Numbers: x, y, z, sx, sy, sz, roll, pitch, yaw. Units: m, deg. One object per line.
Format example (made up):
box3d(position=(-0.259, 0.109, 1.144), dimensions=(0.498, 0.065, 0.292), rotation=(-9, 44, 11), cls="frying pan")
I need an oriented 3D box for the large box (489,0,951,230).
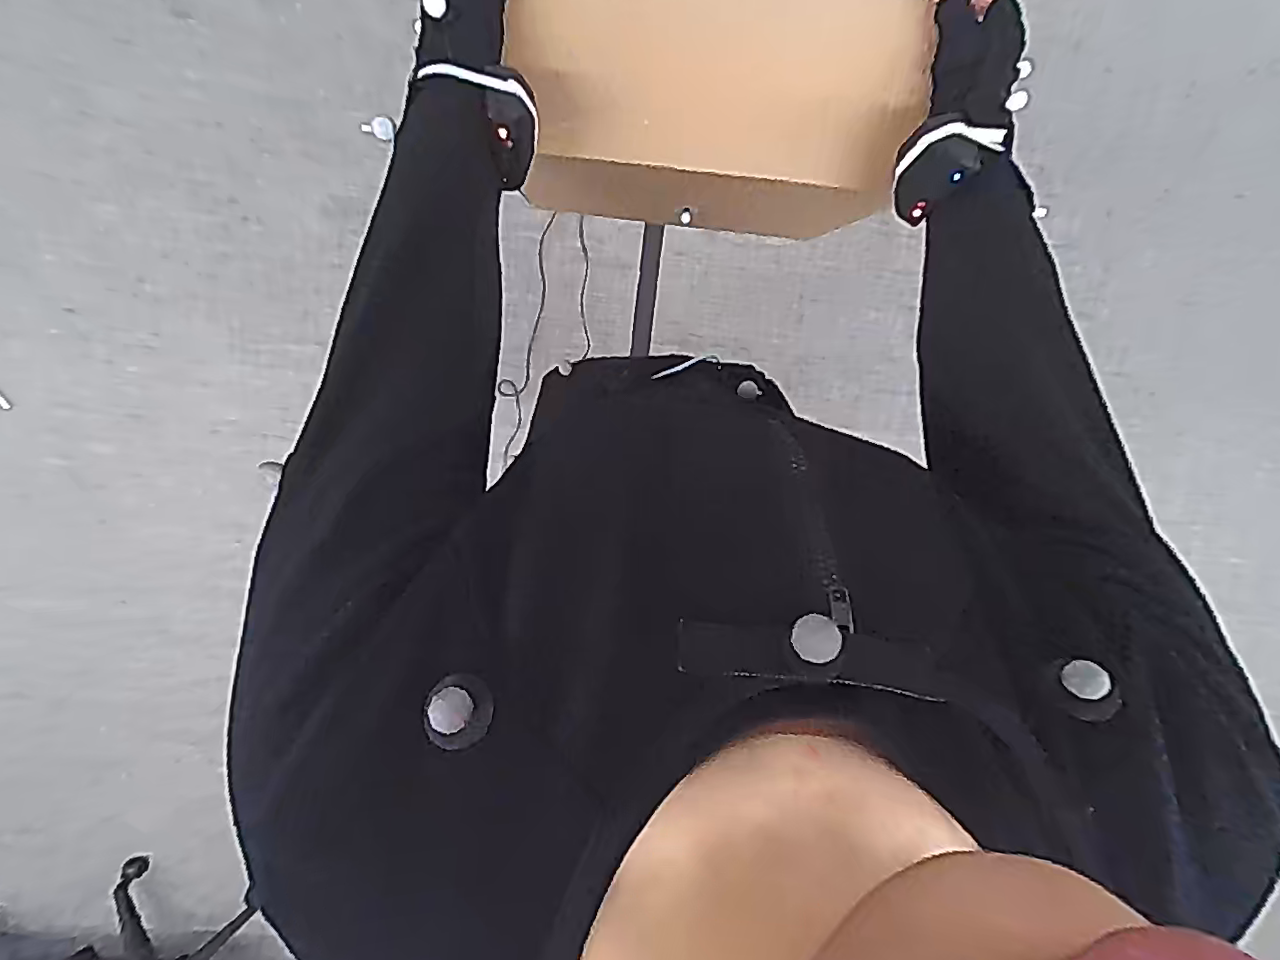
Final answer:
box3d(position=(0.070, -0.477, 0.597), dimensions=(0.408, 0.320, 0.320), rotation=(5, 106, -4), cls="large box")
